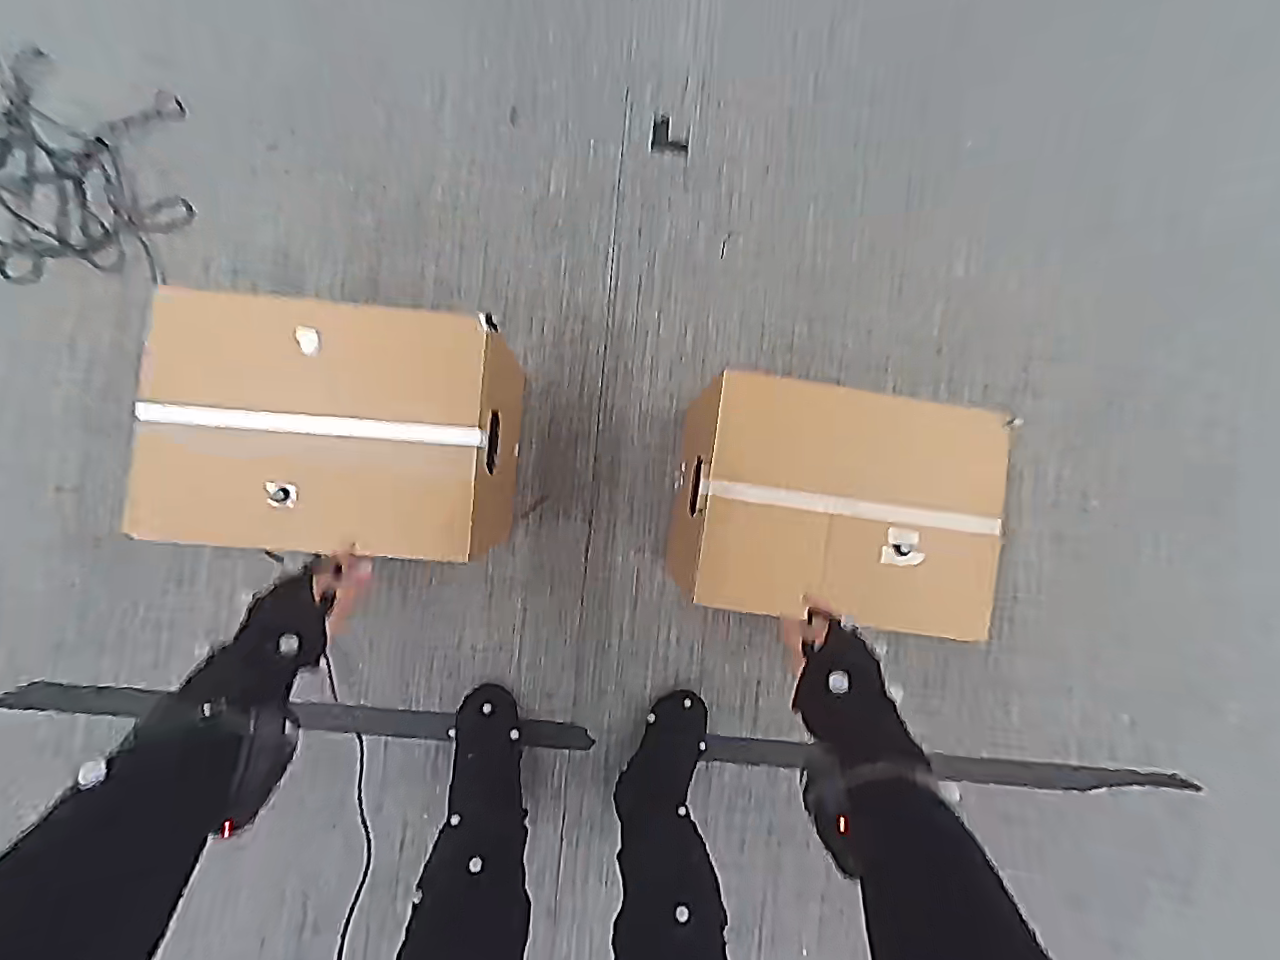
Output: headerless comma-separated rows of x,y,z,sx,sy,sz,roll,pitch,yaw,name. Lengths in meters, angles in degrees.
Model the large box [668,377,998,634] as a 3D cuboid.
0.276,0.044,0.884,0.408,0.320,0.320,8,87,-5,large box
